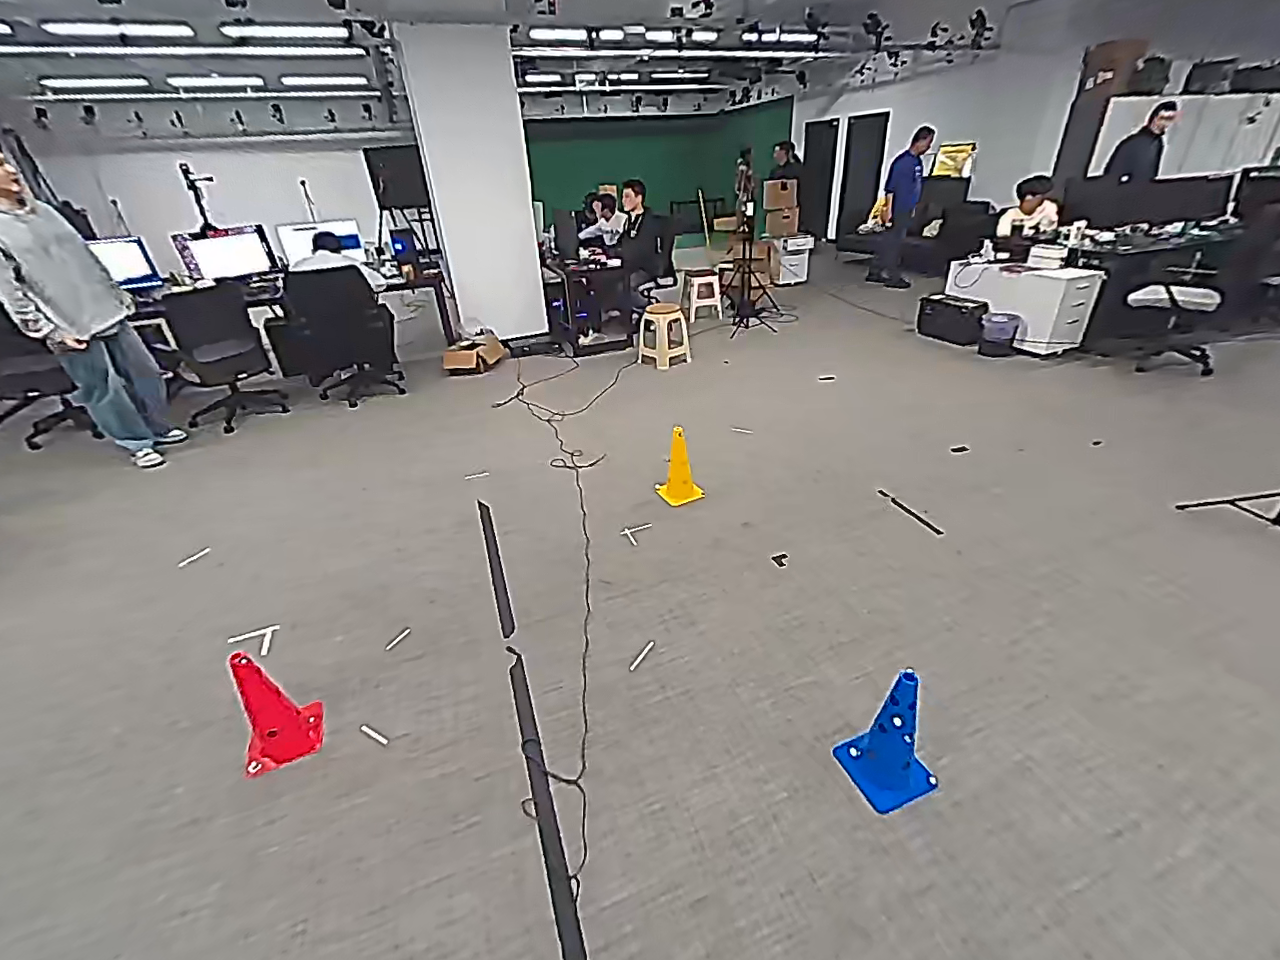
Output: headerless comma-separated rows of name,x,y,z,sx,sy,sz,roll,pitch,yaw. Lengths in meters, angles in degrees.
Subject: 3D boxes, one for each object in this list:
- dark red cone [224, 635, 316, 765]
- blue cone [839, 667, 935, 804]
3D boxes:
dark red cone,-1.098,0.605,1.554,0.201,0.394,0.202,-16,32,-23
blue cone,0.653,0.623,1.379,0.192,0.380,0.193,-12,31,-16
